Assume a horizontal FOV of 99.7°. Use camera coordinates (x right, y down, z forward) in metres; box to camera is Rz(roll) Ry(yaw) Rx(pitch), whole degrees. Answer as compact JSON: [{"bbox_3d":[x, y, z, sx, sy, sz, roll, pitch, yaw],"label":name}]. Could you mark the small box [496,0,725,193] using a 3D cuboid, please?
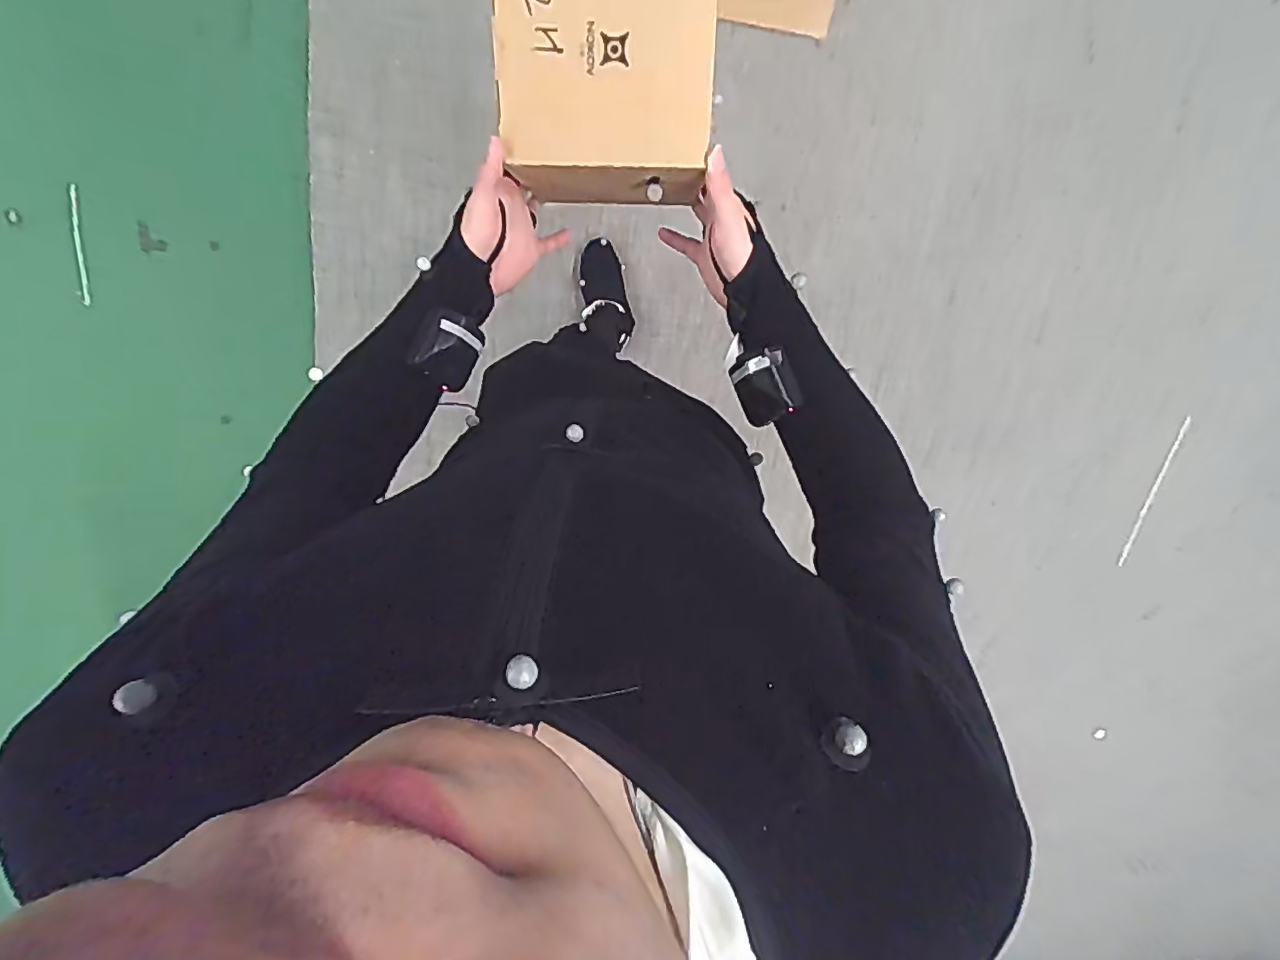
[{"bbox_3d":[-0.022,-0.369,0.492,0.179,0.176,0.168,2,108,2],"label":"small box"}]
